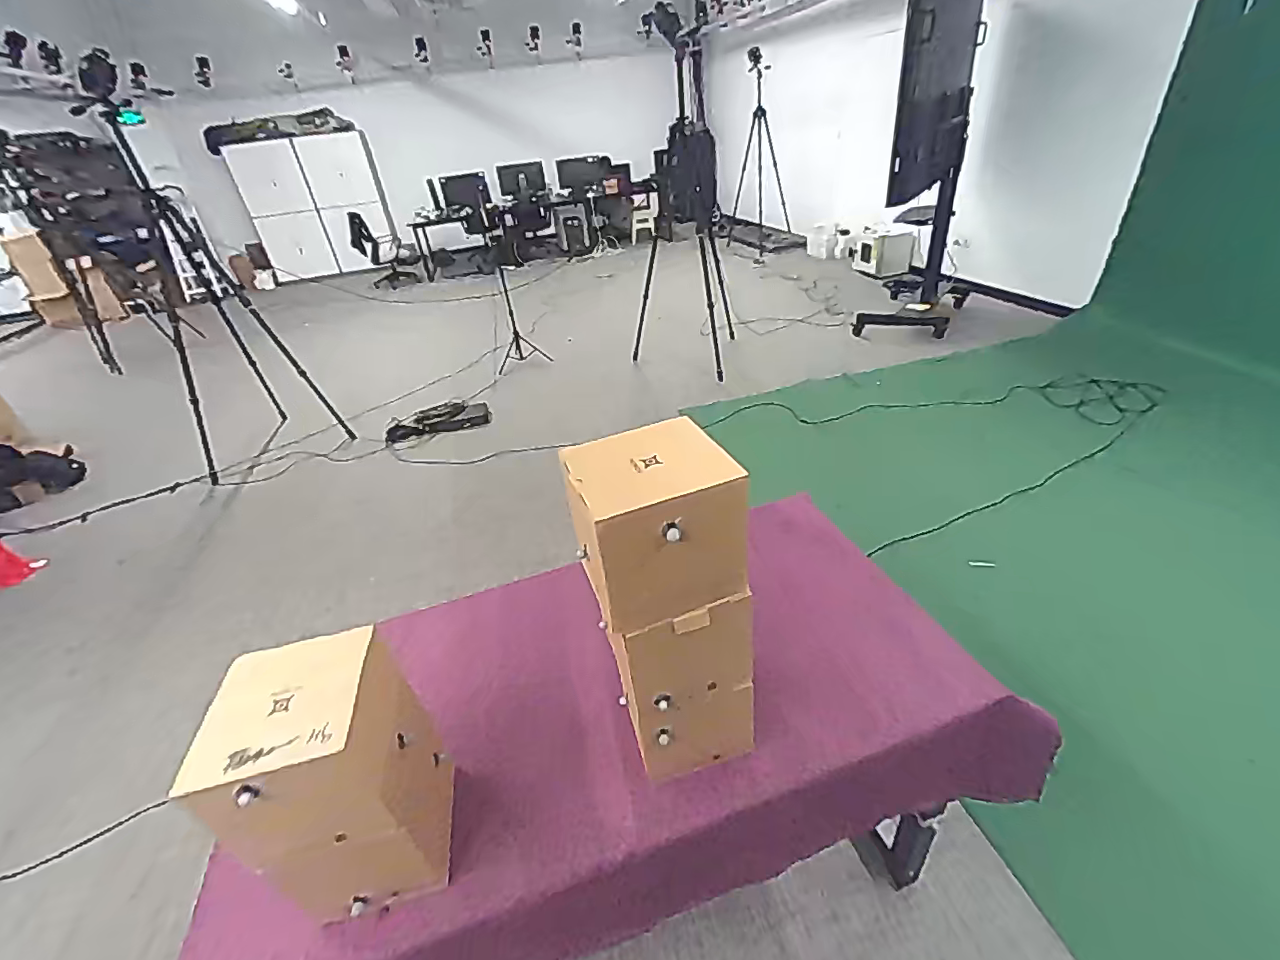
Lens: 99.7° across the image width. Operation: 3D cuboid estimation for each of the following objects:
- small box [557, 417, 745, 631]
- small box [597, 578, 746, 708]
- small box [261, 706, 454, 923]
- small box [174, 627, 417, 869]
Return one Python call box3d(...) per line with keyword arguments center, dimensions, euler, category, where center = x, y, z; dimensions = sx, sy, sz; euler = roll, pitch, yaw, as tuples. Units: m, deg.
box3d(center=(0.014, 0.050, 0.660), dimensions=(0.179, 0.176, 0.168), euler=(-18, 34, -12), category="small box")
box3d(center=(0.038, 0.185, 0.748), dimensions=(0.168, 0.176, 0.179), euler=(-16, 33, -12), category="small box")
box3d(center=(-0.361, 0.450, 0.735), dimensions=(0.168, 0.176, 0.179), euler=(-13, 34, -7), category="small box")
box3d(center=(-0.382, 0.313, 0.645), dimensions=(0.168, 0.176, 0.179), euler=(-14, 33, -6), category="small box")
